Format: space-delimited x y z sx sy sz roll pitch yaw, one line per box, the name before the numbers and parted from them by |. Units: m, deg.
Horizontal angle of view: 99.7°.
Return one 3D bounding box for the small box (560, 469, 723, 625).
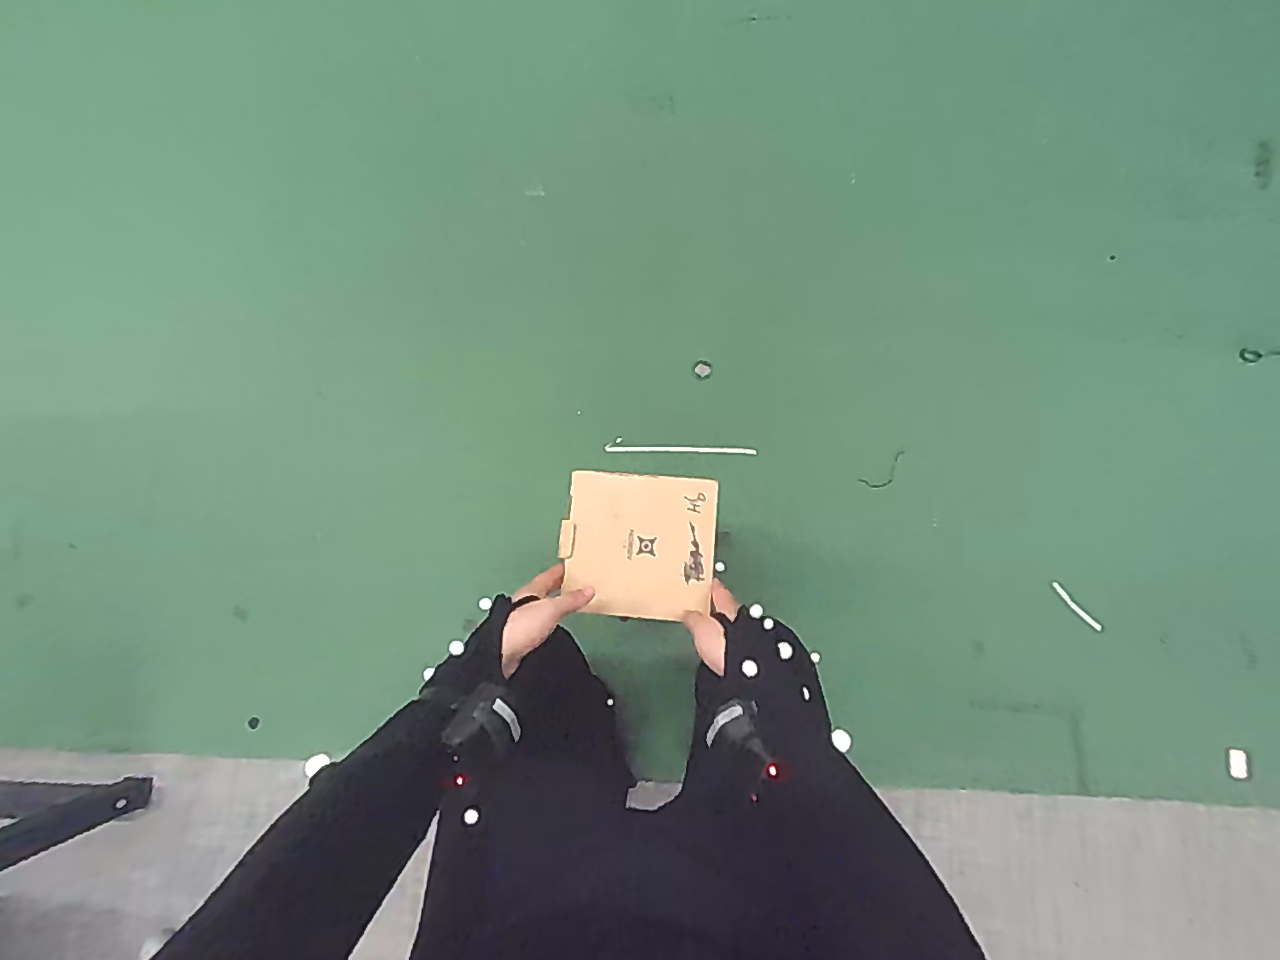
small box | 0.008 0.088 0.696 0.179 0.176 0.168 5 81 4
